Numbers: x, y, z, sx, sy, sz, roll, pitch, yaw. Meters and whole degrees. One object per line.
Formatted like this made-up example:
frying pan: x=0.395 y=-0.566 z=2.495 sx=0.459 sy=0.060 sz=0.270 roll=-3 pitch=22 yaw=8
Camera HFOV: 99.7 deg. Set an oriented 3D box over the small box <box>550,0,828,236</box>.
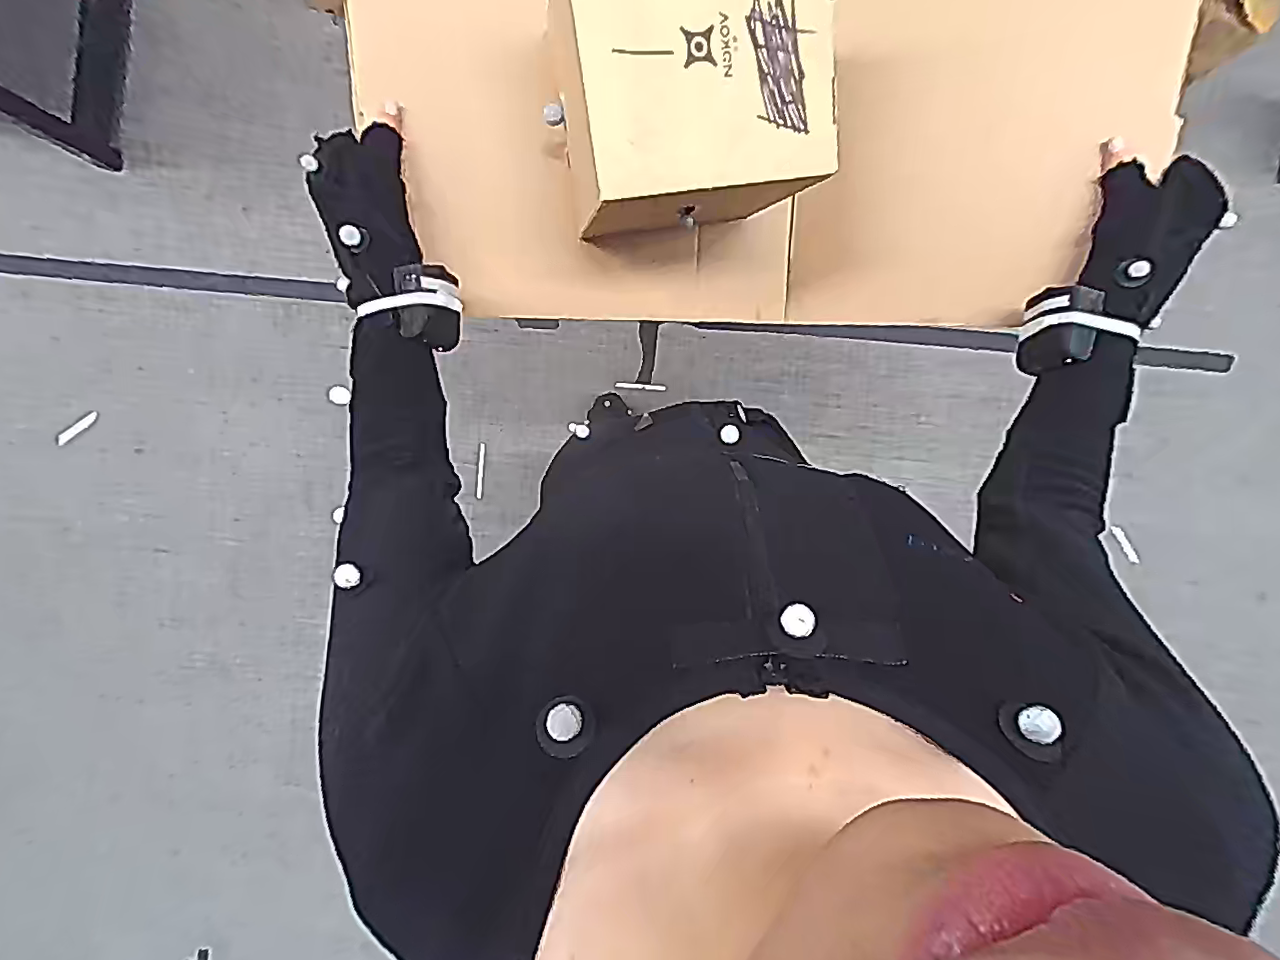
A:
small box: x=0.029 y=-0.305 z=0.437 sx=0.179 sy=0.176 sz=0.168 roll=-11 pitch=107 yaw=-8
